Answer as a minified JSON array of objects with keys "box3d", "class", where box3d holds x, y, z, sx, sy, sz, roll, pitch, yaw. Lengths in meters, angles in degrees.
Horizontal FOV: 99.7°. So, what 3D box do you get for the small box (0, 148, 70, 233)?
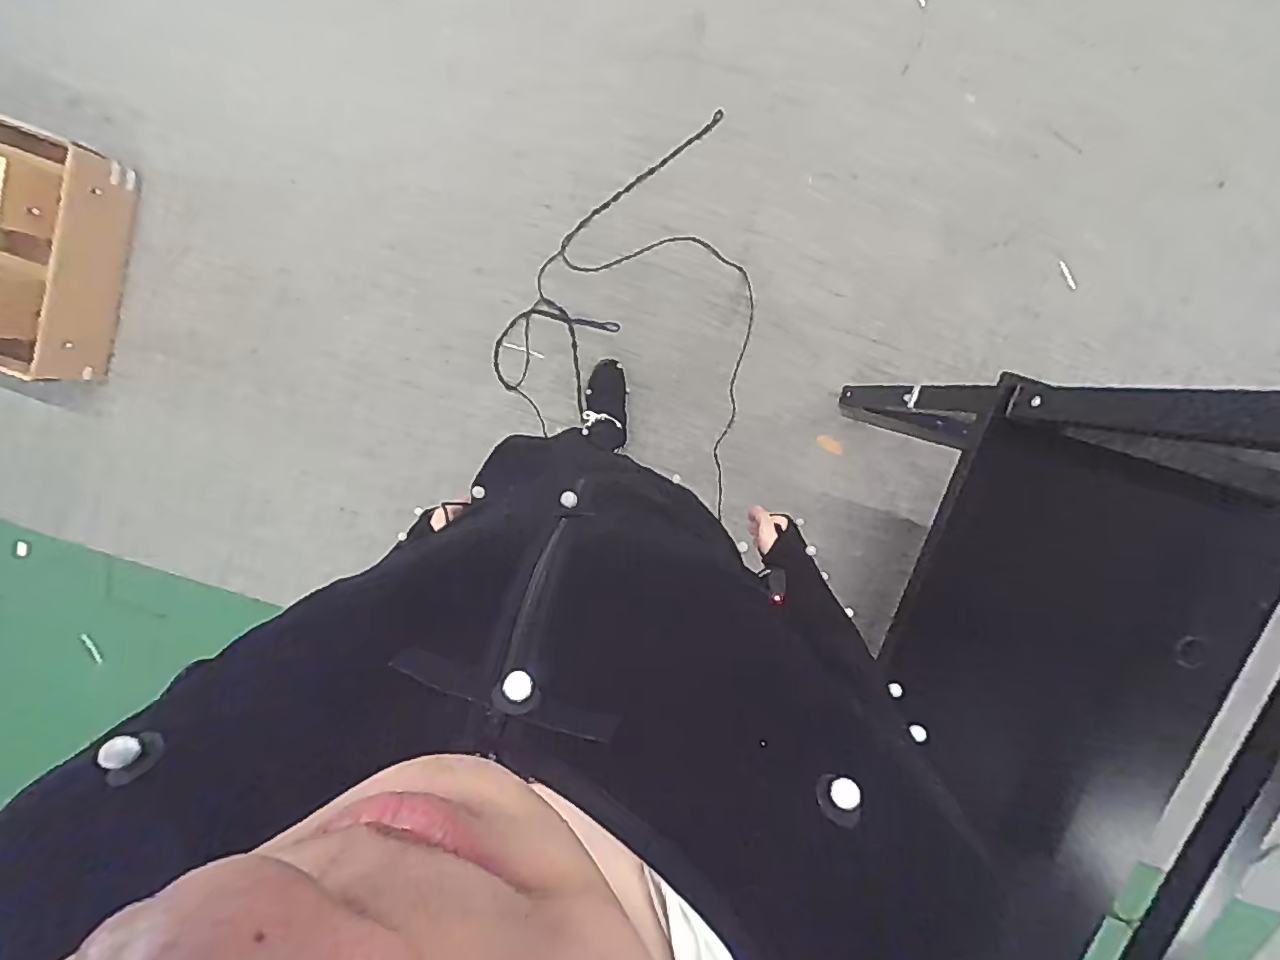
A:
[{"box3d":[-1.622,-0.750,1.373,0.179,0.176,0.168,20,100,-3],"class":"small box"}]
